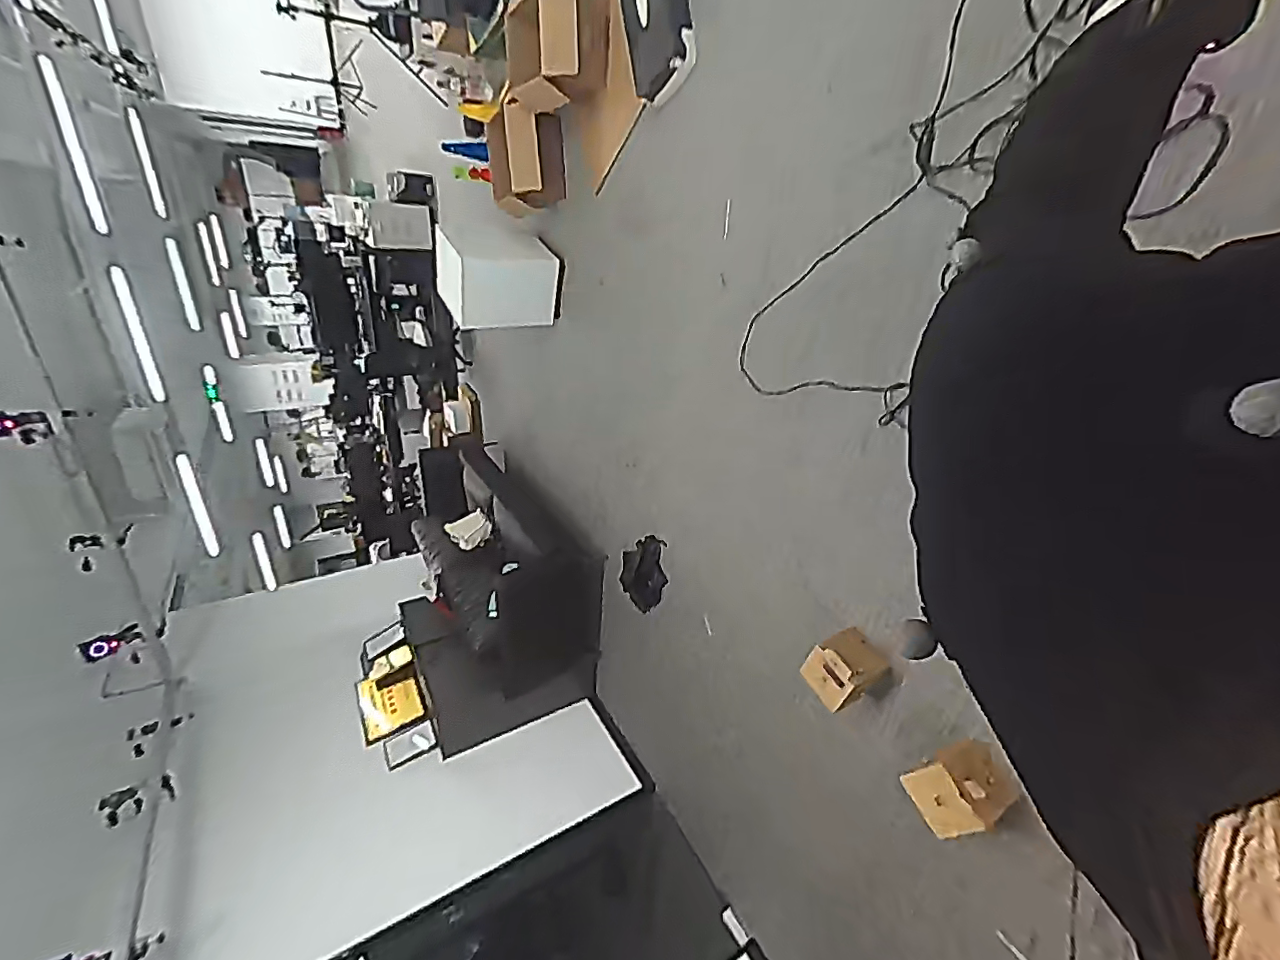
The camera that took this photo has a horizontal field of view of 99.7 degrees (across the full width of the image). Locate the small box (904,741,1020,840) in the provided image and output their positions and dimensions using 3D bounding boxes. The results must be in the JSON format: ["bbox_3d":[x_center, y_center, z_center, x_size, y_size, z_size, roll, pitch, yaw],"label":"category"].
[{"bbox_3d":[0.875,0.842,1.470,0.168,0.176,0.179,60,146,29],"label":"small box"}]
